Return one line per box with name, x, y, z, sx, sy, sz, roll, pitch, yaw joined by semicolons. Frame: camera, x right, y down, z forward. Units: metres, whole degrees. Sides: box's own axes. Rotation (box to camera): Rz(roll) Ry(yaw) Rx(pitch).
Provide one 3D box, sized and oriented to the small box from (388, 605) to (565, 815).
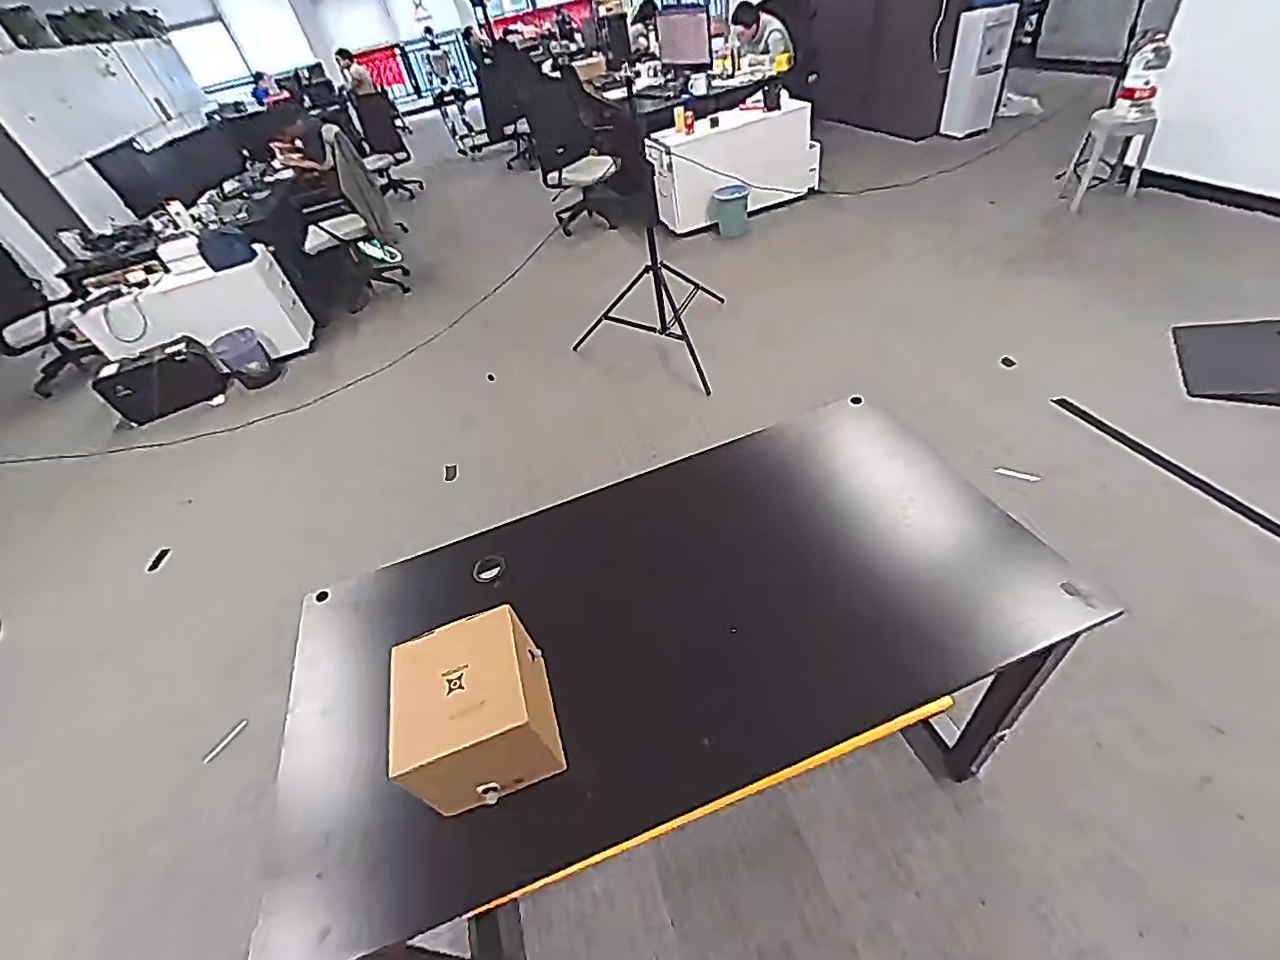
small box;-0.214;0.306;0.721;0.168;0.176;0.179;-21;44;-6
